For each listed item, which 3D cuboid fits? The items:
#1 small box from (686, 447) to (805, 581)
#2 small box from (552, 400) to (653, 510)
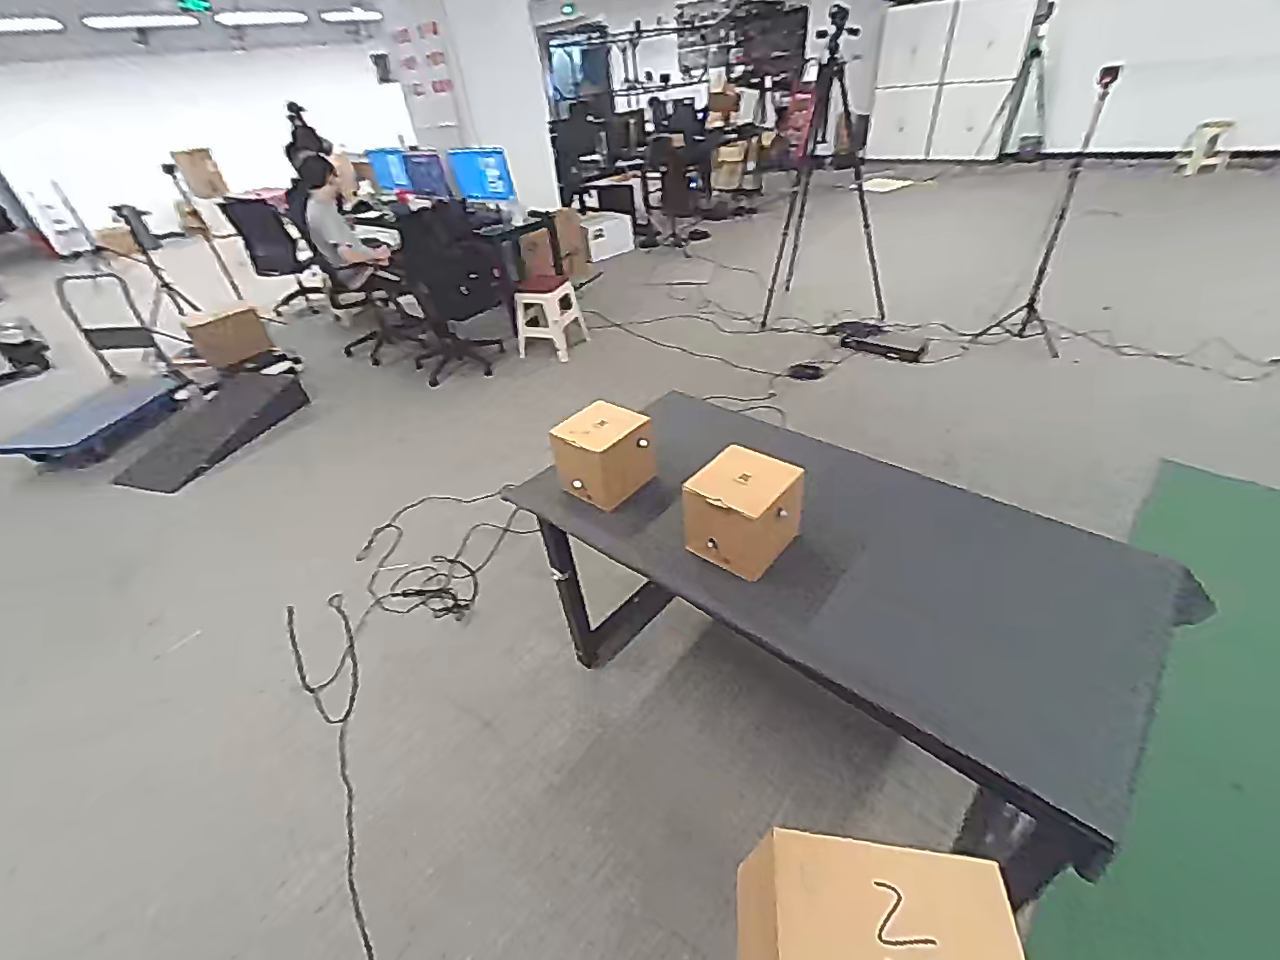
[{"bbox_3d":[0.206,0.065,1.077,0.168,0.176,0.179,25,47,35],"label":"small box"},{"bbox_3d":[-0.082,-0.061,1.281,0.168,0.176,0.179,24,46,34],"label":"small box"}]
